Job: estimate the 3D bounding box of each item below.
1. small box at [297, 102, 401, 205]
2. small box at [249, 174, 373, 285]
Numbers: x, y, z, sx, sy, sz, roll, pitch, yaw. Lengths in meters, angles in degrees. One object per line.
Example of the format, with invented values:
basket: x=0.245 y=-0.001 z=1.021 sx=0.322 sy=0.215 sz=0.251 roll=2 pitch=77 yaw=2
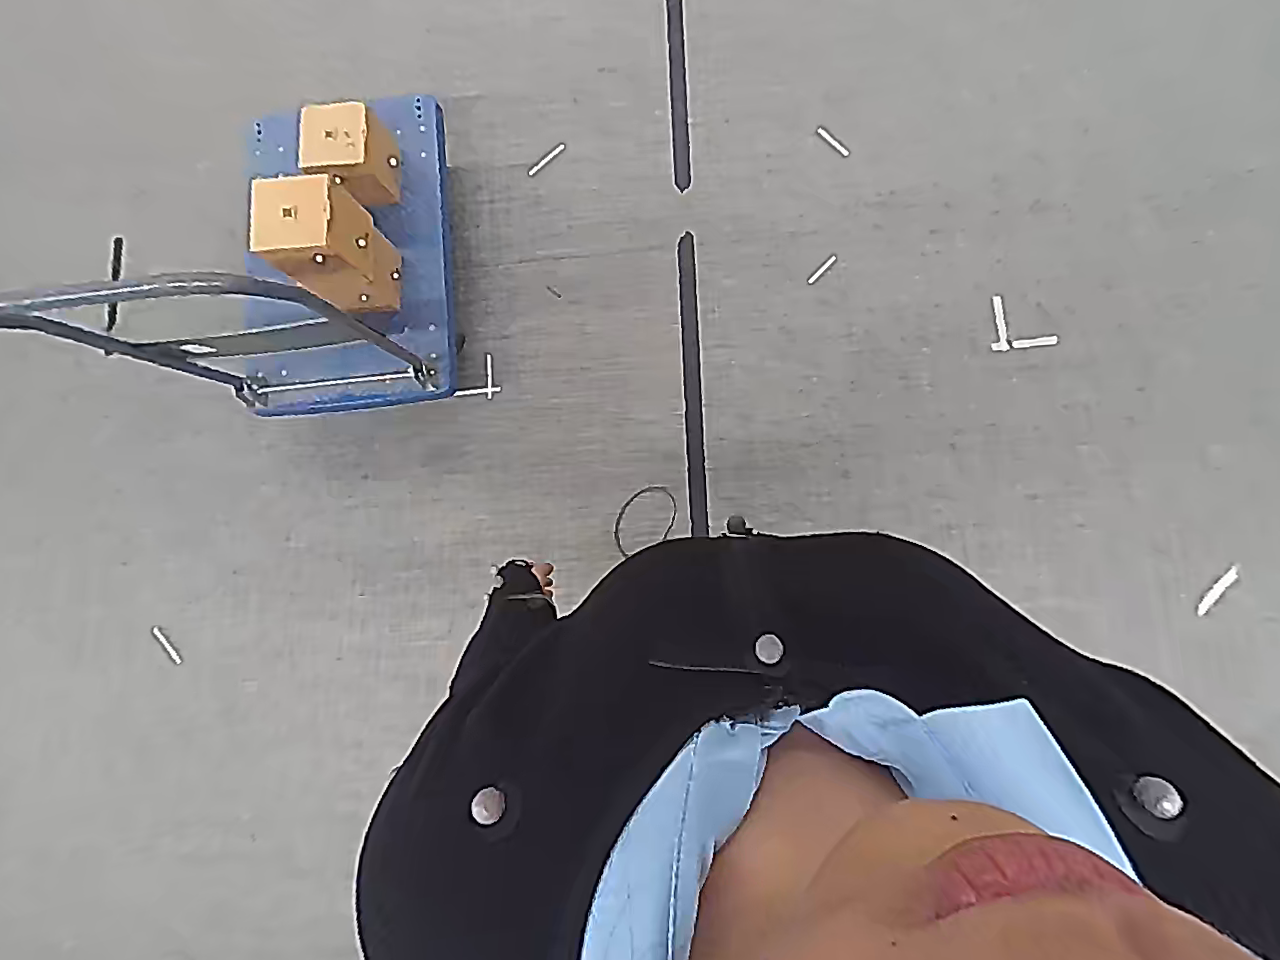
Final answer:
small box: x=-0.756 y=-0.846 z=1.417 sx=0.179 sy=0.176 sz=0.168 roll=-1 pitch=85 yaw=5
small box: x=-0.737 y=-0.557 z=1.224 sx=0.179 sy=0.176 sz=0.168 roll=-3 pitch=84 yaw=3
